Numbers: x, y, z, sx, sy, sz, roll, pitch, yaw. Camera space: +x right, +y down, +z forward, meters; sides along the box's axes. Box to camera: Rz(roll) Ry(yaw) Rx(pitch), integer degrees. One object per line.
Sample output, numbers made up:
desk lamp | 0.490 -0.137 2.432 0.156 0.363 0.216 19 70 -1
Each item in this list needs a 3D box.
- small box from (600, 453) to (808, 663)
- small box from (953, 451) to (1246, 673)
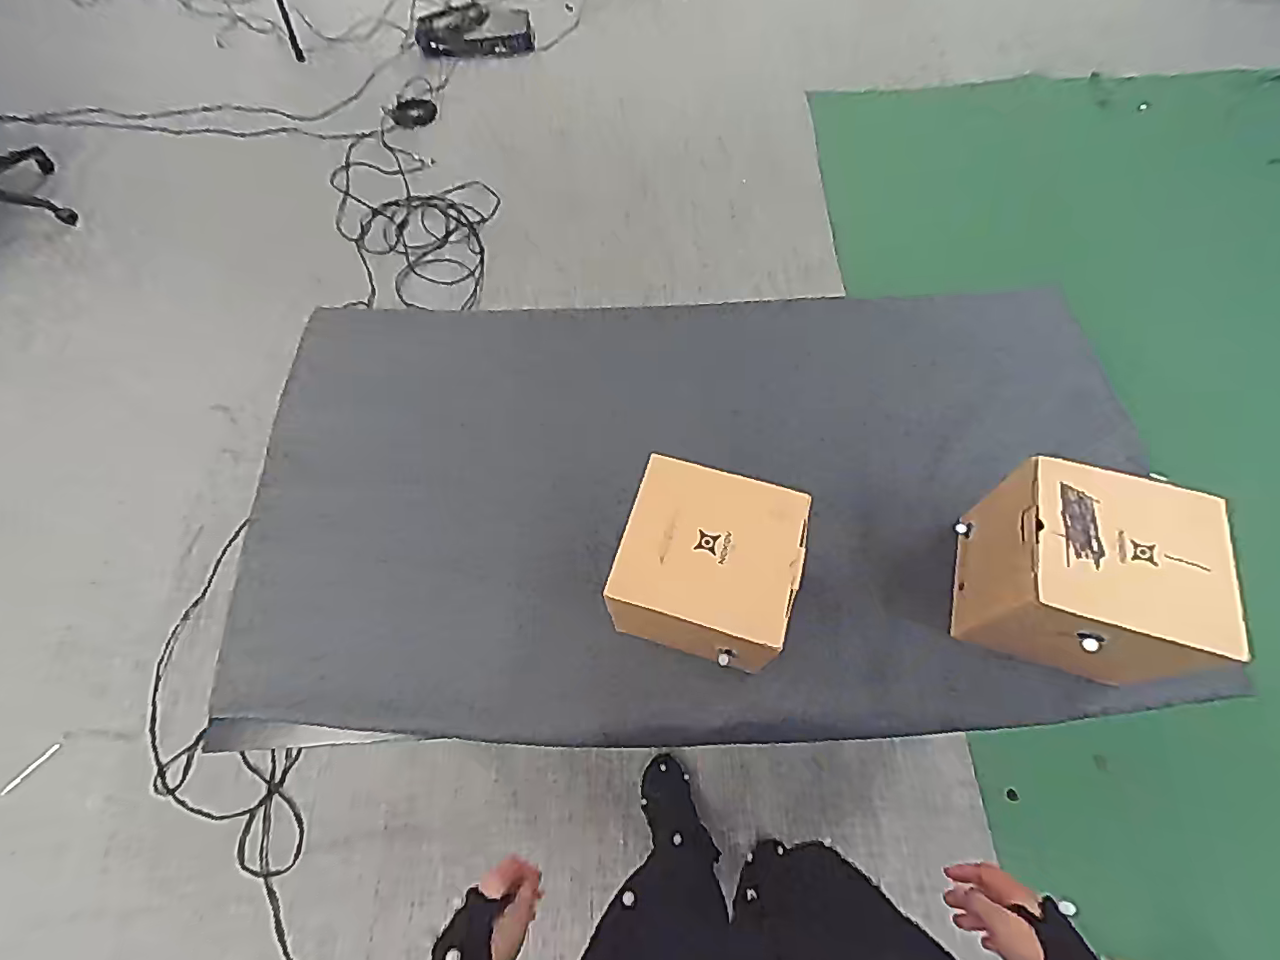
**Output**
small box | 0.071 0.096 0.607 0.179 0.176 0.168 14 65 10
small box | 0.466 0.096 0.582 0.179 0.176 0.168 16 66 10
